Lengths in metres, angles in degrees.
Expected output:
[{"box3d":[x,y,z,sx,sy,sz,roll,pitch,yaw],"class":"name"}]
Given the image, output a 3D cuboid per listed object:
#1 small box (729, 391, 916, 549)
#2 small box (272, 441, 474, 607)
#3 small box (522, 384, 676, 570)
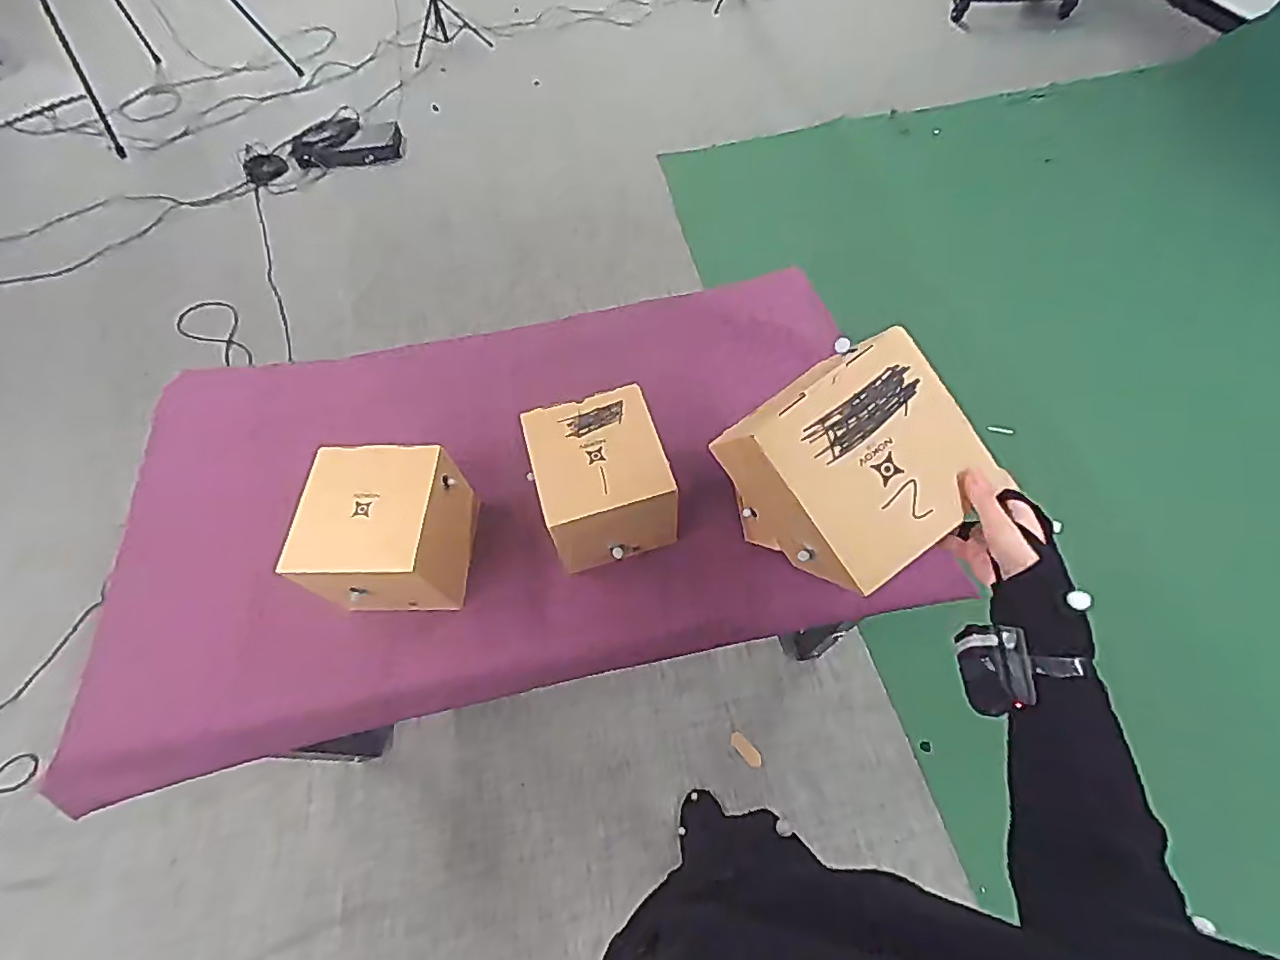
[{"box3d":[0.222,-0.008,0.710,0.179,0.176,0.168,-10,89,-3],"class":"small box"},{"box3d":[-0.337,0.066,0.727,0.168,0.176,0.179,0,60,3],"class":"small box"},{"box3d":[-0.055,0.001,0.750,0.168,0.176,0.179,-15,62,-6],"class":"small box"}]
